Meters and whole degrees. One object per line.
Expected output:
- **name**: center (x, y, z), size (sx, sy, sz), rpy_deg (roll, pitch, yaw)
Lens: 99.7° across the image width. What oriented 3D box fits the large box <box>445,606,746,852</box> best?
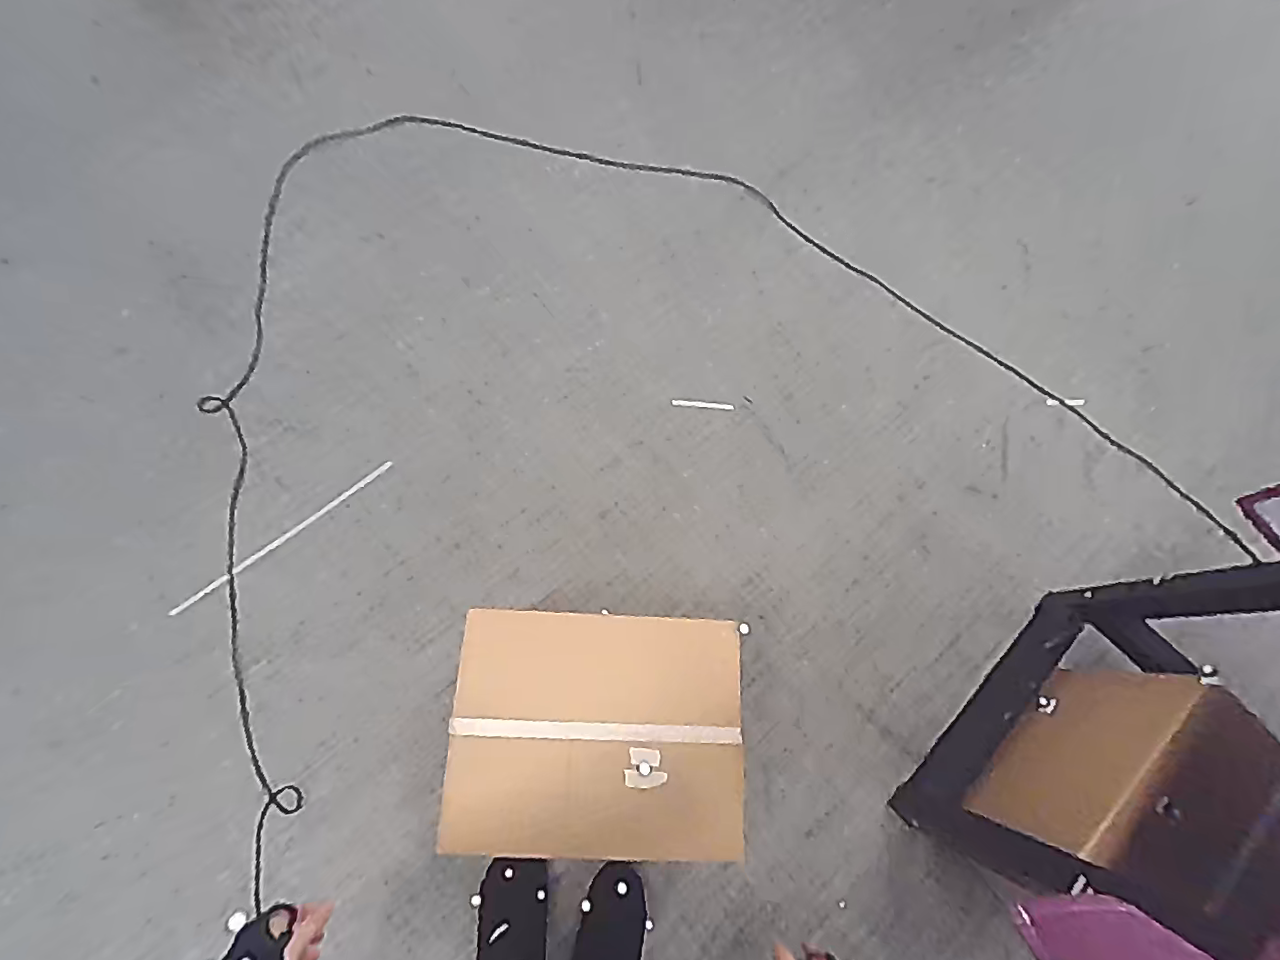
- **large box**: center (-0.065, 0.385, 0.894), size (0.408, 0.320, 0.320), rpy_deg (3, 73, -3)
